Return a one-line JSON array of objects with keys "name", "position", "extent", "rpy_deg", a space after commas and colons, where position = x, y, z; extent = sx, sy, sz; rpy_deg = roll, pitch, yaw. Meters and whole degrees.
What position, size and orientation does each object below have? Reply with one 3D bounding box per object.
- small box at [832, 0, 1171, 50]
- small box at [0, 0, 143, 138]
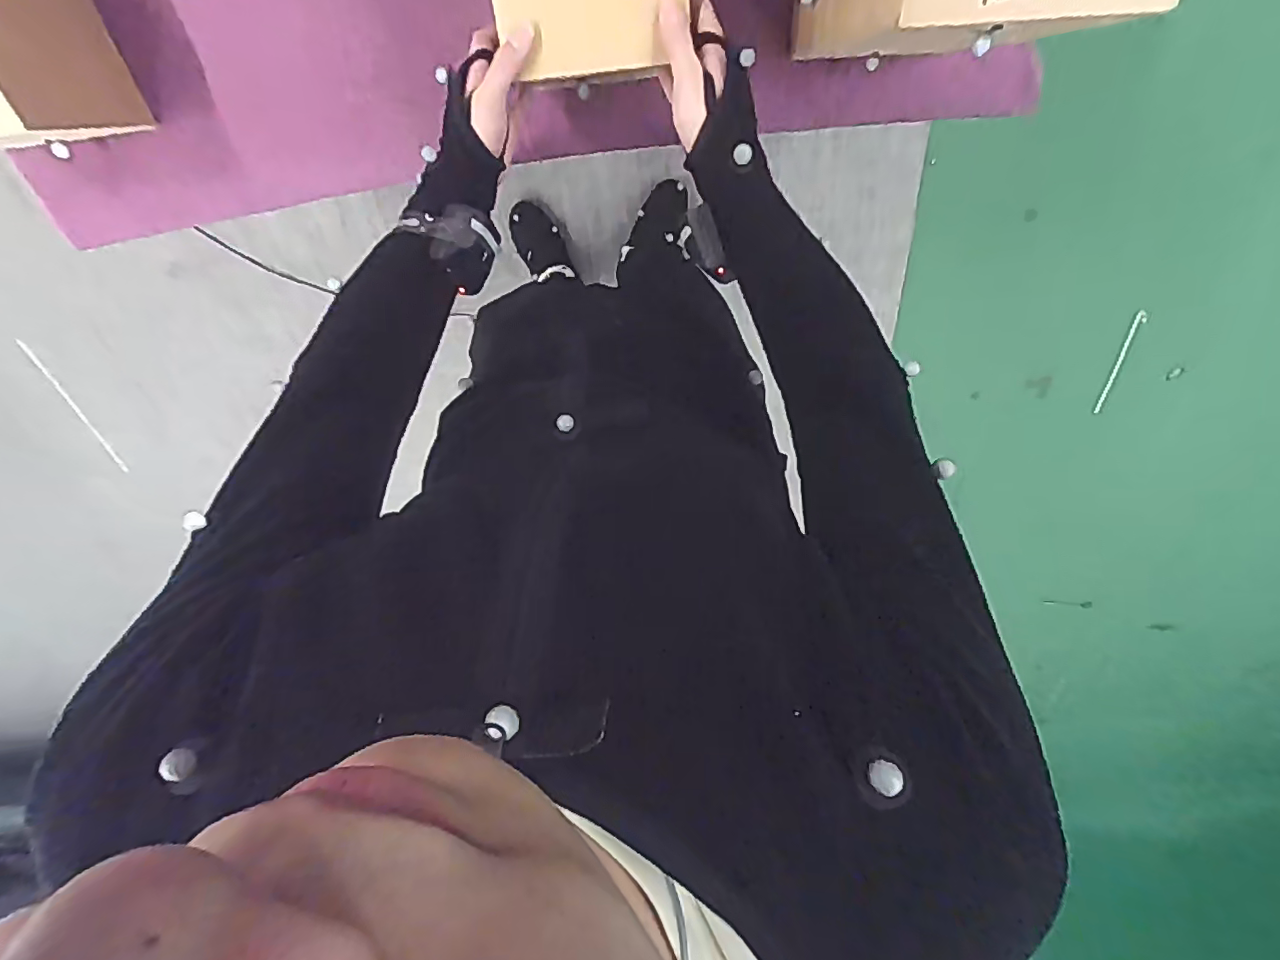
[{"name": "small box", "position": [0.235, -0.397, 0.345], "extent": [0.168, 0.176, 0.179], "rpy_deg": [-1, 125, 3]}, {"name": "small box", "position": [-0.670, -0.445, 0.531], "extent": [0.168, 0.176, 0.179], "rpy_deg": [-5, 125, 5]}]
